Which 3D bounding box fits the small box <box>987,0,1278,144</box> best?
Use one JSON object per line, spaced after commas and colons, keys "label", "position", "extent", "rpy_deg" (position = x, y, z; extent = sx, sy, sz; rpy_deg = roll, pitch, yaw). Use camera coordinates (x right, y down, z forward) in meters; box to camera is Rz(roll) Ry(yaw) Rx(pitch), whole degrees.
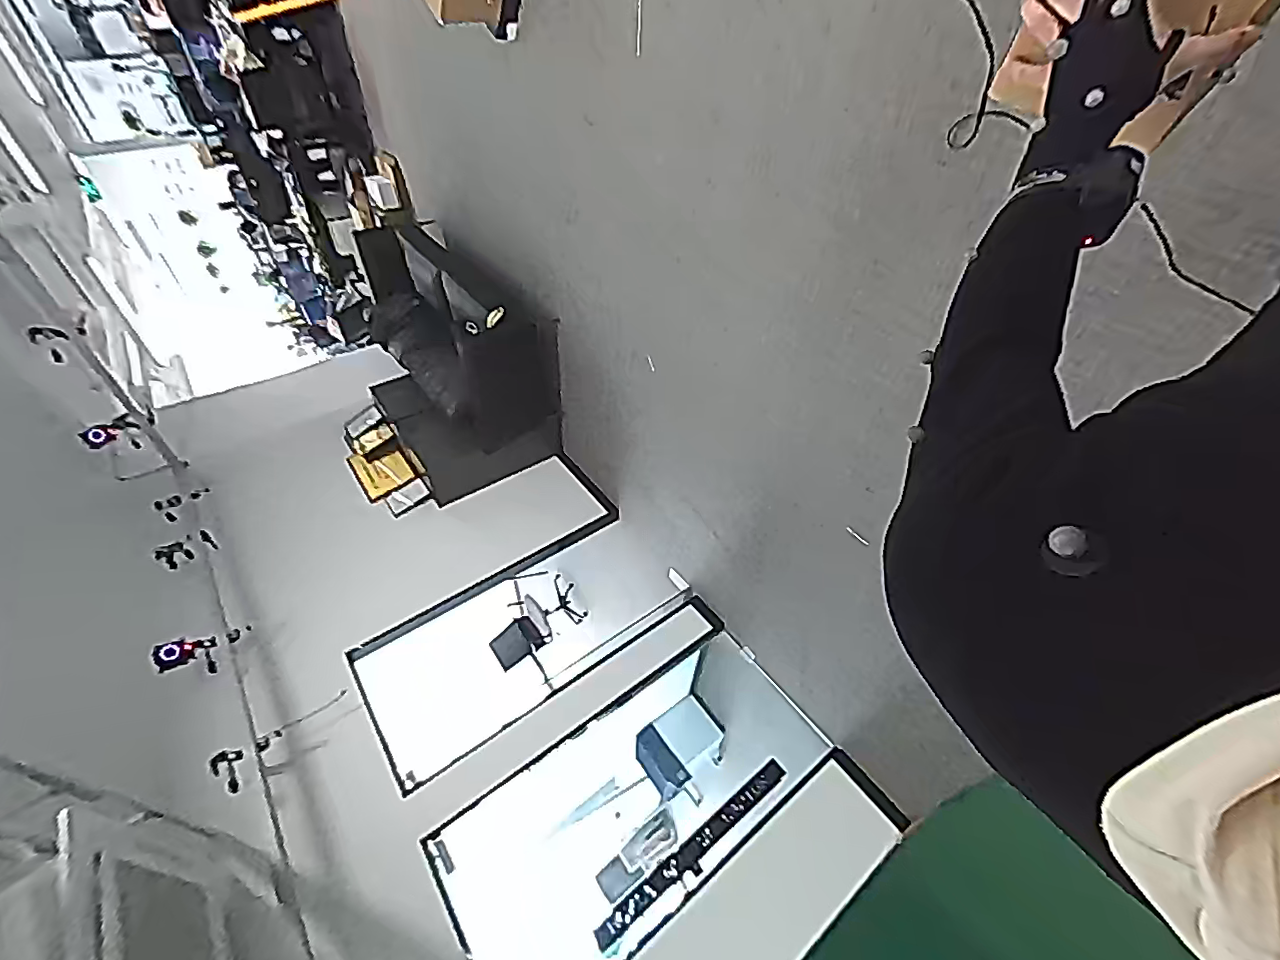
{"label": "small box", "position": [0.494, -0.471, 0.516], "extent": [0.179, 0.176, 0.168], "rpy_deg": [42, 162, 21]}
